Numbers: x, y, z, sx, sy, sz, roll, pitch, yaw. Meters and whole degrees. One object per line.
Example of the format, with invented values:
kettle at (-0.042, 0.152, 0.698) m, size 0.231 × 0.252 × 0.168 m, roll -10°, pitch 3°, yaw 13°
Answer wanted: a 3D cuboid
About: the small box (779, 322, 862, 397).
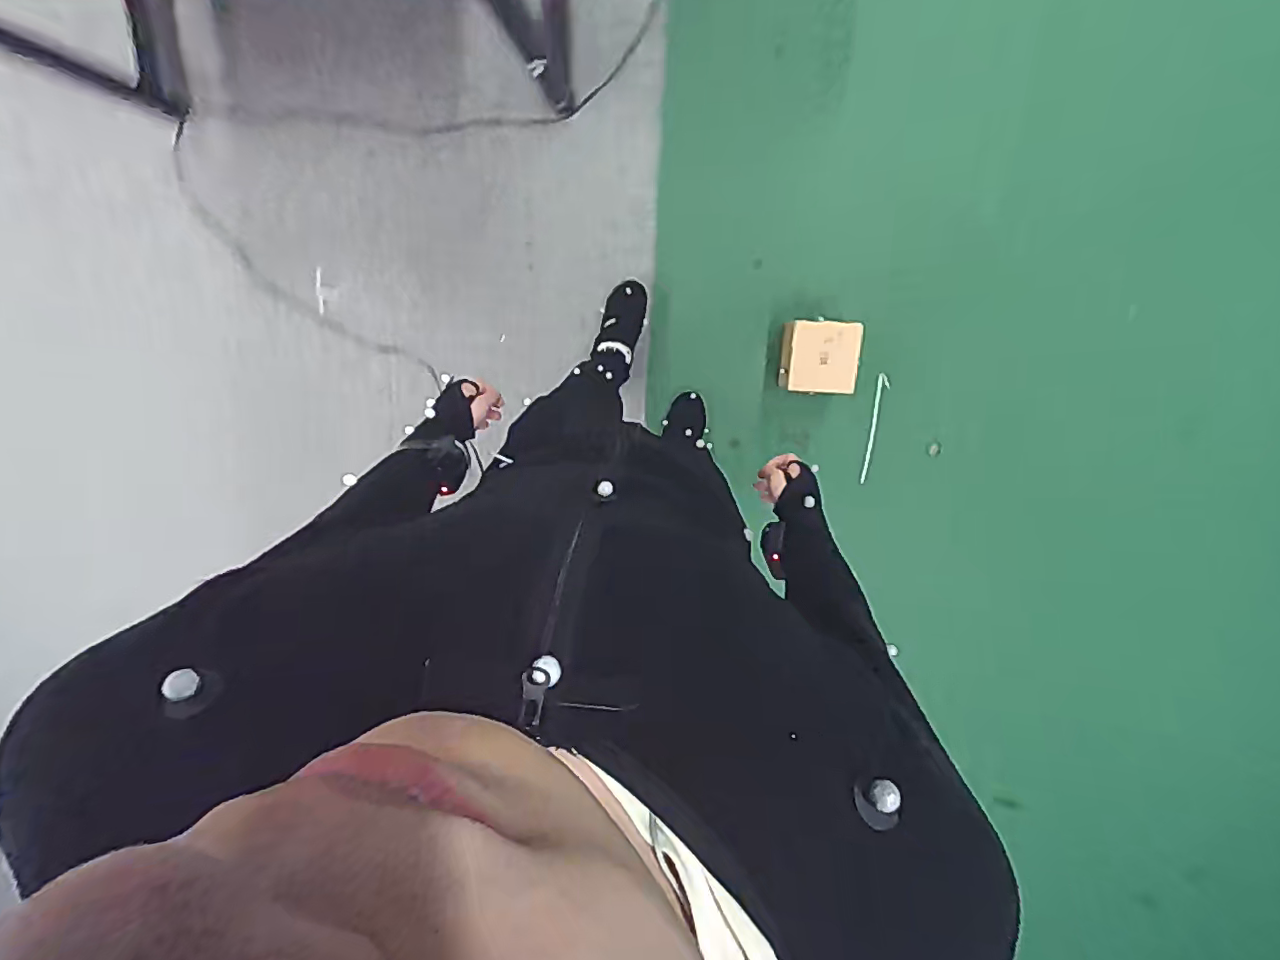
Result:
small box at (0.467, -0.322, 1.428) m, size 0.168 × 0.176 × 0.179 m, roll 5°, pitch 105°, yaw 5°
